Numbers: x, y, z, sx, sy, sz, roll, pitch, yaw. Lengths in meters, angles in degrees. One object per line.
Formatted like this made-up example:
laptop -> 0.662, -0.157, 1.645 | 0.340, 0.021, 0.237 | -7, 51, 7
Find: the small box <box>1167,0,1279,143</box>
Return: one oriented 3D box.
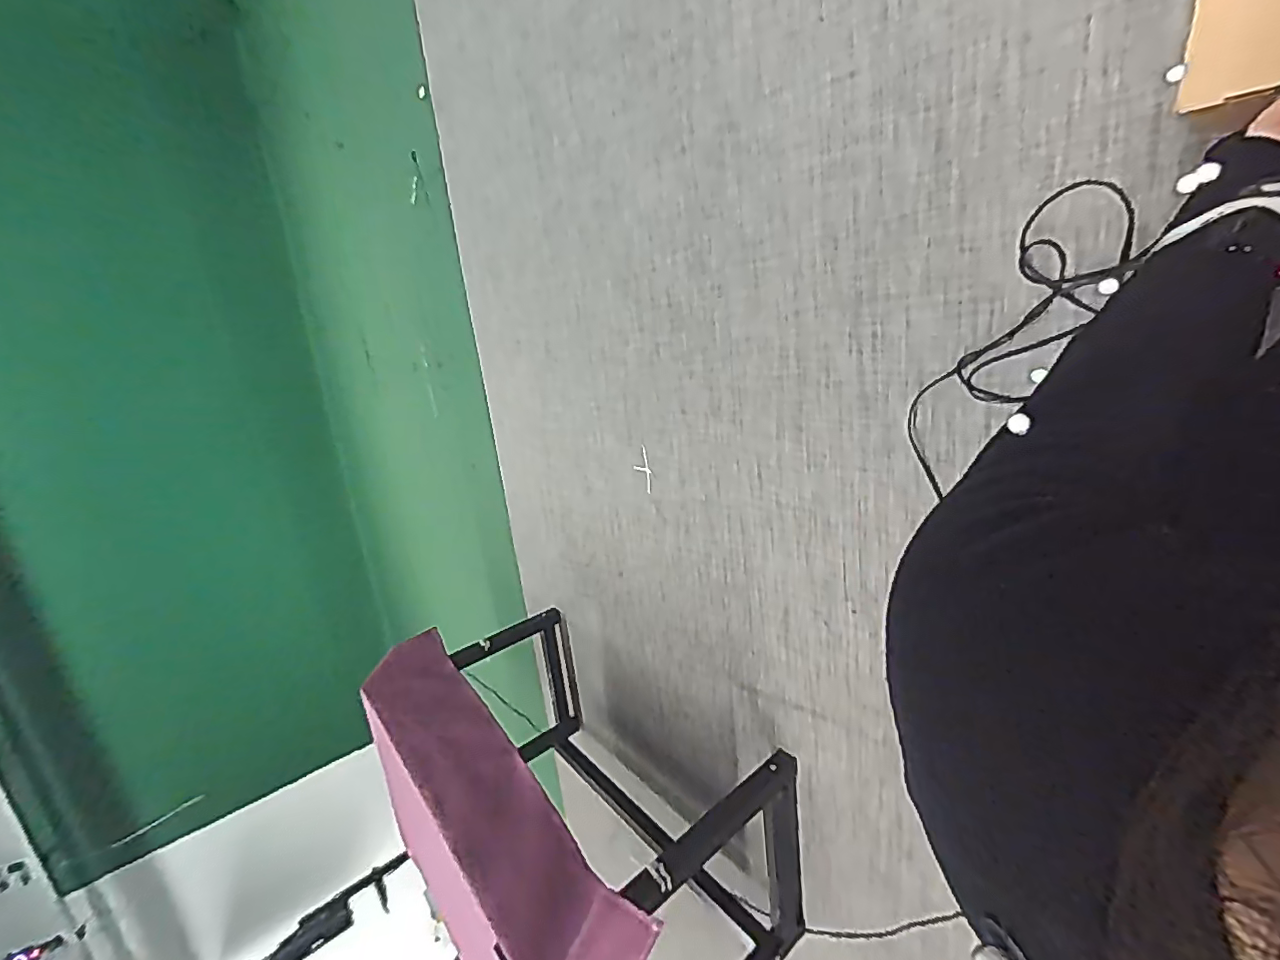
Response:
small box -> 0.599, -0.419, 0.467 | 0.168, 0.176, 0.179 | 16, 117, 49
